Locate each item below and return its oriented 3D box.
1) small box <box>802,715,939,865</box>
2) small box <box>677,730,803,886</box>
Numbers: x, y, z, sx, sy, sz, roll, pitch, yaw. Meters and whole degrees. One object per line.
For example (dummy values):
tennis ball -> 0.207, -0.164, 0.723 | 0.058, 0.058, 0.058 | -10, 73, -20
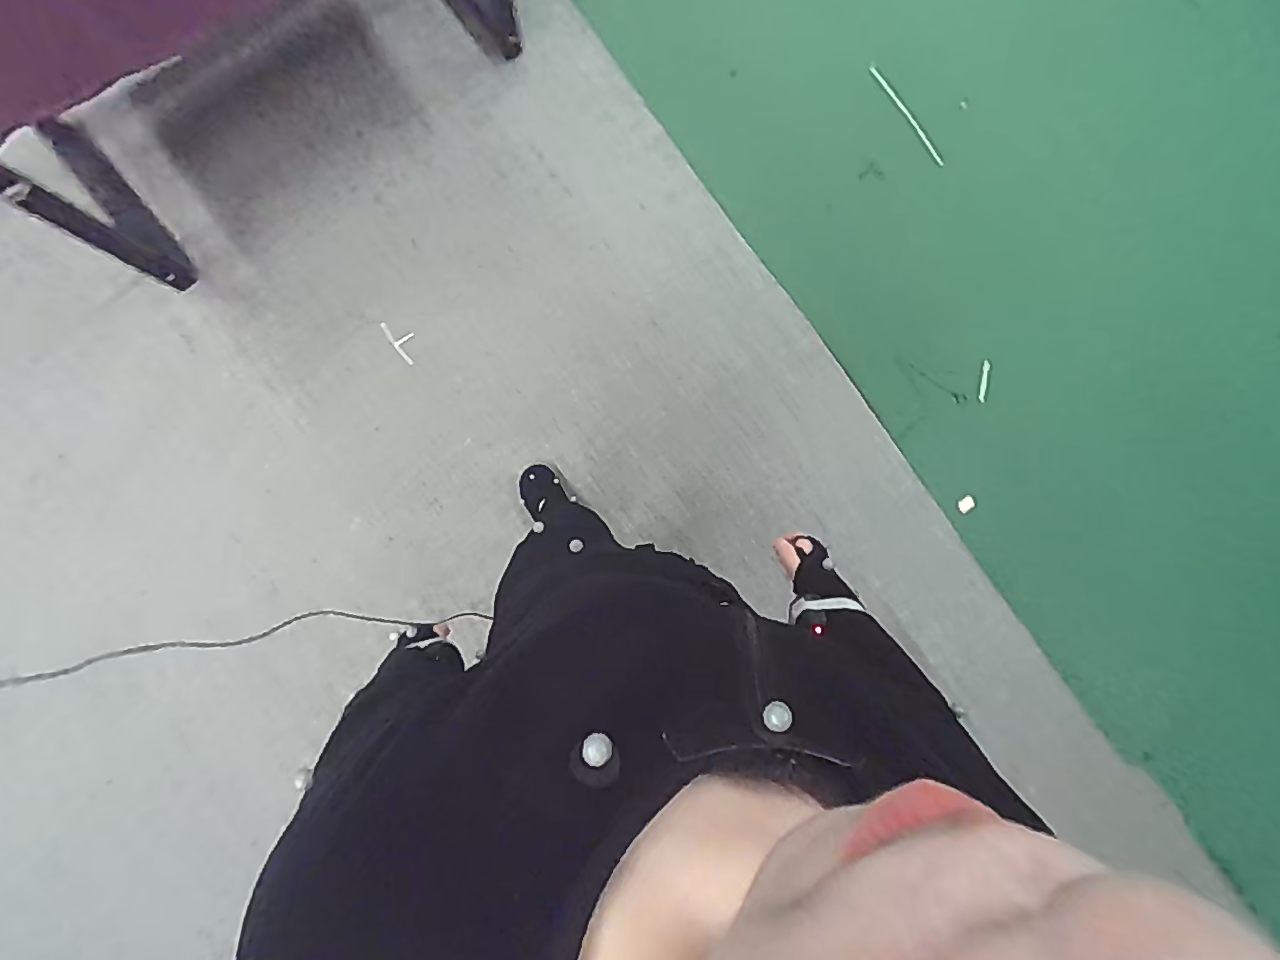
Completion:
small box -> 0.465, 0.634, 1.129 | 0.179, 0.176, 0.168 | -37, 93, -6
small box -> 0.195, 0.654, 1.102 | 0.168, 0.176, 0.179 | -32, 91, -5
